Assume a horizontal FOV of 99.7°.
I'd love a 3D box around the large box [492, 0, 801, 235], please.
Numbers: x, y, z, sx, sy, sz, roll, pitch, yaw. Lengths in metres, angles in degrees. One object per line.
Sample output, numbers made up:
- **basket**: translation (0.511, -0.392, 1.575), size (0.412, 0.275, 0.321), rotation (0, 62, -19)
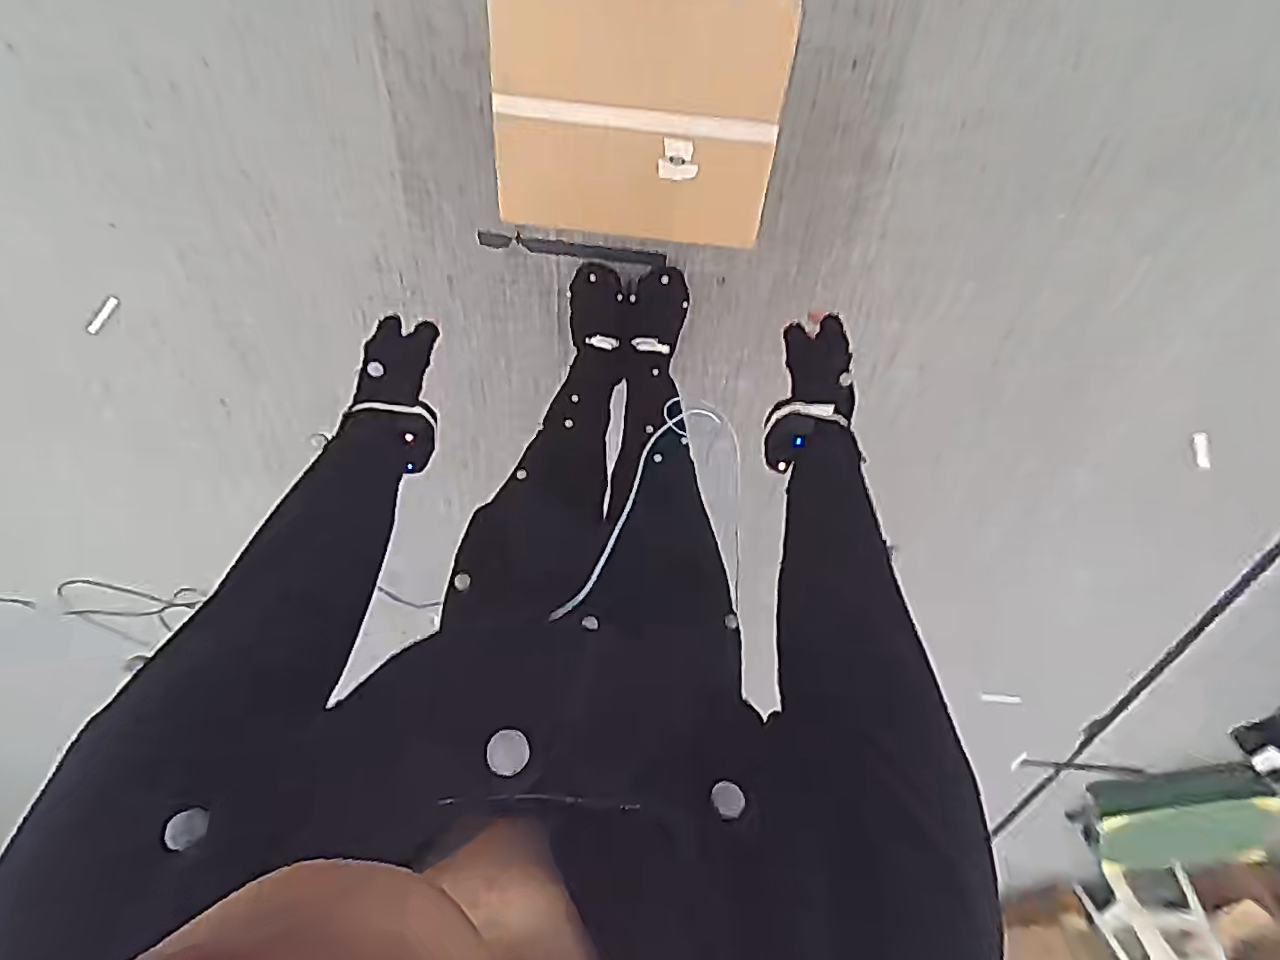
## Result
- **large box**: translation (0.000, -0.612, 0.880), size (0.408, 0.320, 0.320), rotation (5, 127, -2)
